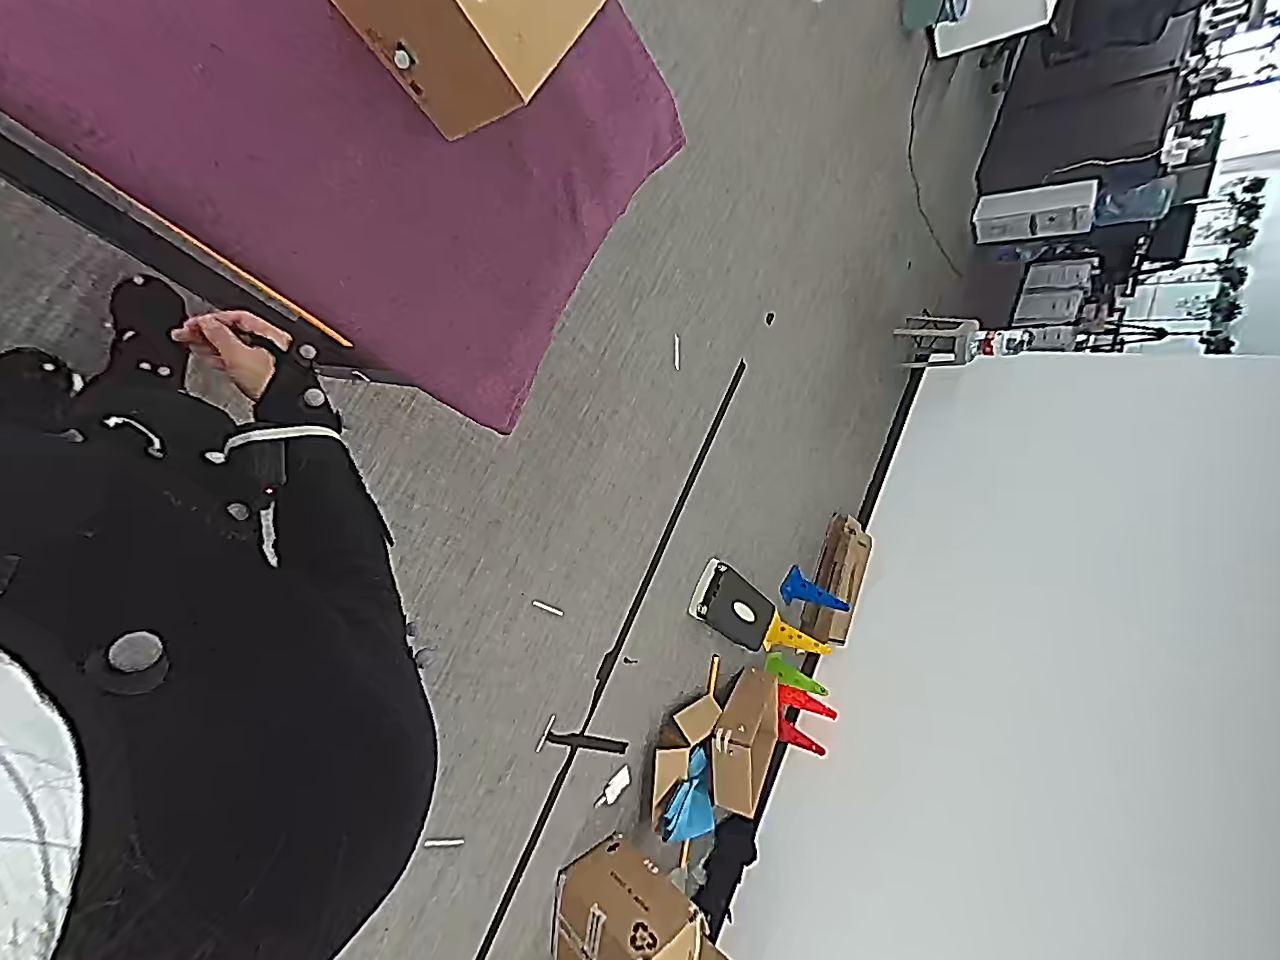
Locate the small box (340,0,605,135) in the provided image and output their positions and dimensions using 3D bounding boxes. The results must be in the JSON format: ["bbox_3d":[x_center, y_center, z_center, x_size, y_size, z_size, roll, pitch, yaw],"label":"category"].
[{"bbox_3d":[-0.176,-0.509,0.569,0.168,0.176,0.179,44,69,-44],"label":"small box"}]
